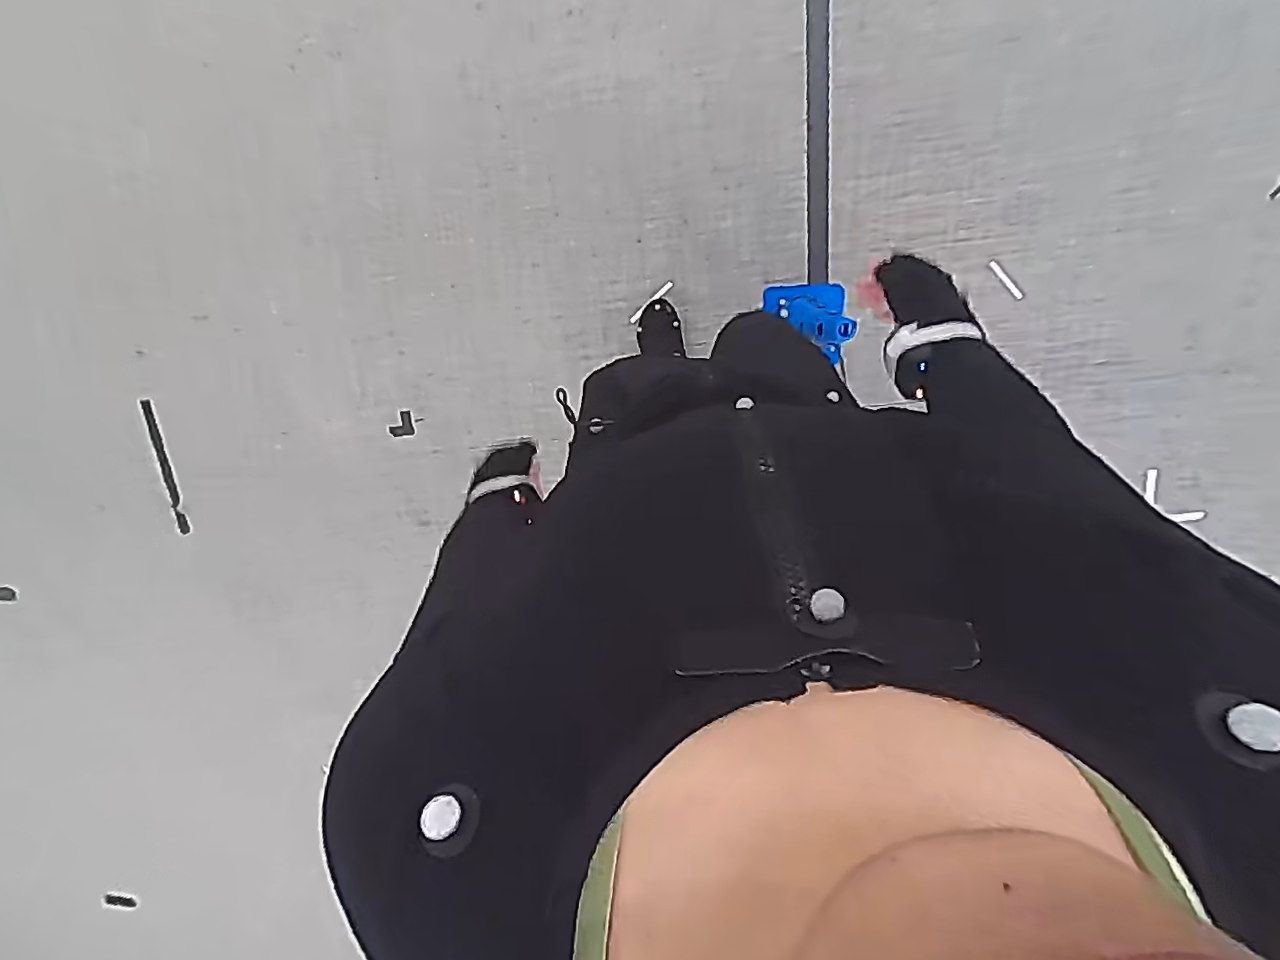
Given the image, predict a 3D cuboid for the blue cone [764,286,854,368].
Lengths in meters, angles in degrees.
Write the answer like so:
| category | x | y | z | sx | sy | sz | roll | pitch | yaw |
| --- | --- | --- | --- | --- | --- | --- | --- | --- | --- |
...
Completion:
| category | x | y | z | sx | sy | sz | roll | pitch | yaw |
| --- | --- | --- | --- | --- | --- | --- | --- | --- | --- |
| blue cone | 0.392 | -0.328 | 1.180 | 0.193 | 0.380 | 0.192 | -2 | 107 | 4 |
